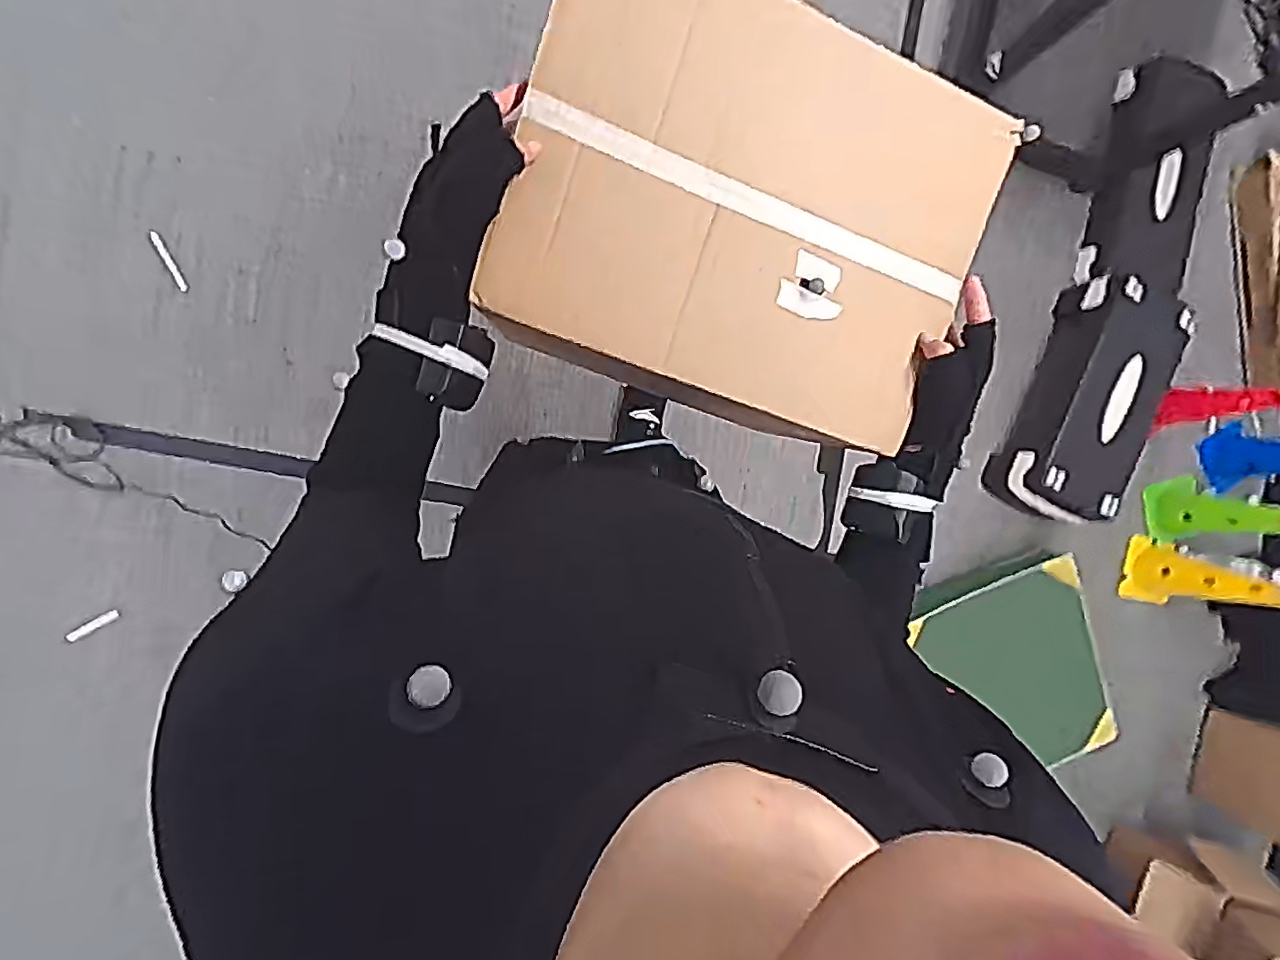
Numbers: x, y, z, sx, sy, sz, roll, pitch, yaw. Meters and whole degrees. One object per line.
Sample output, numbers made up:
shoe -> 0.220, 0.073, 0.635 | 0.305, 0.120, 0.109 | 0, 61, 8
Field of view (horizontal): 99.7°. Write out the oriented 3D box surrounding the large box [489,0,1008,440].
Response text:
large box -> 0.080, -0.261, 0.611 | 0.408, 0.320, 0.320 | 18, 97, -12
